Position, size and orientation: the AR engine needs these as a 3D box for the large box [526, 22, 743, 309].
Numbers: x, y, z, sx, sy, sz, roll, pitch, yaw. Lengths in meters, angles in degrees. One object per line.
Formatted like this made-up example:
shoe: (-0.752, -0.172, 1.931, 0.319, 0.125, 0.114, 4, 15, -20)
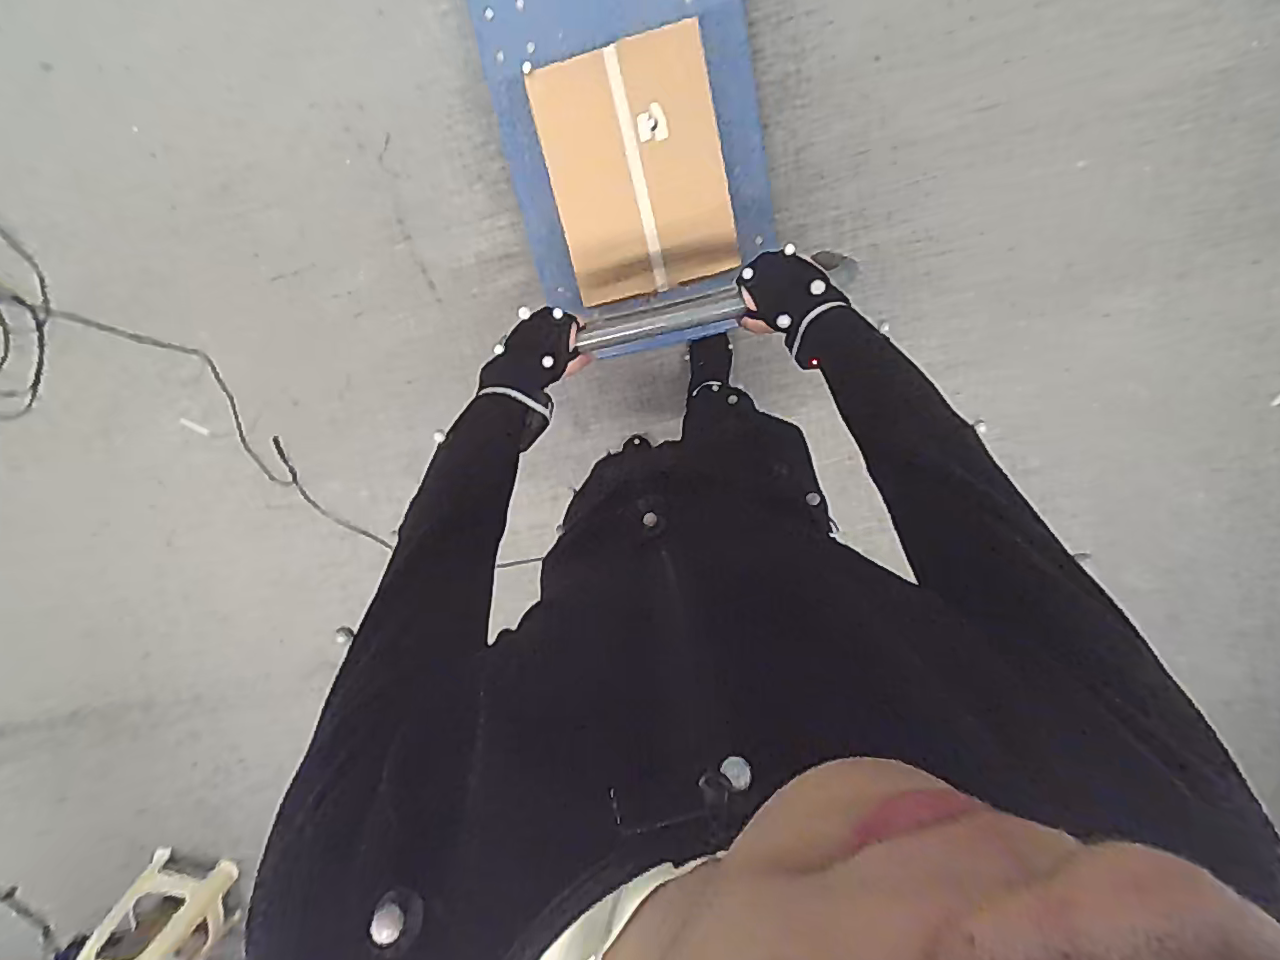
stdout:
large box: (0.008, -0.597, 1.122, 0.320, 0.320, 0.408, -13, 105, 7)
